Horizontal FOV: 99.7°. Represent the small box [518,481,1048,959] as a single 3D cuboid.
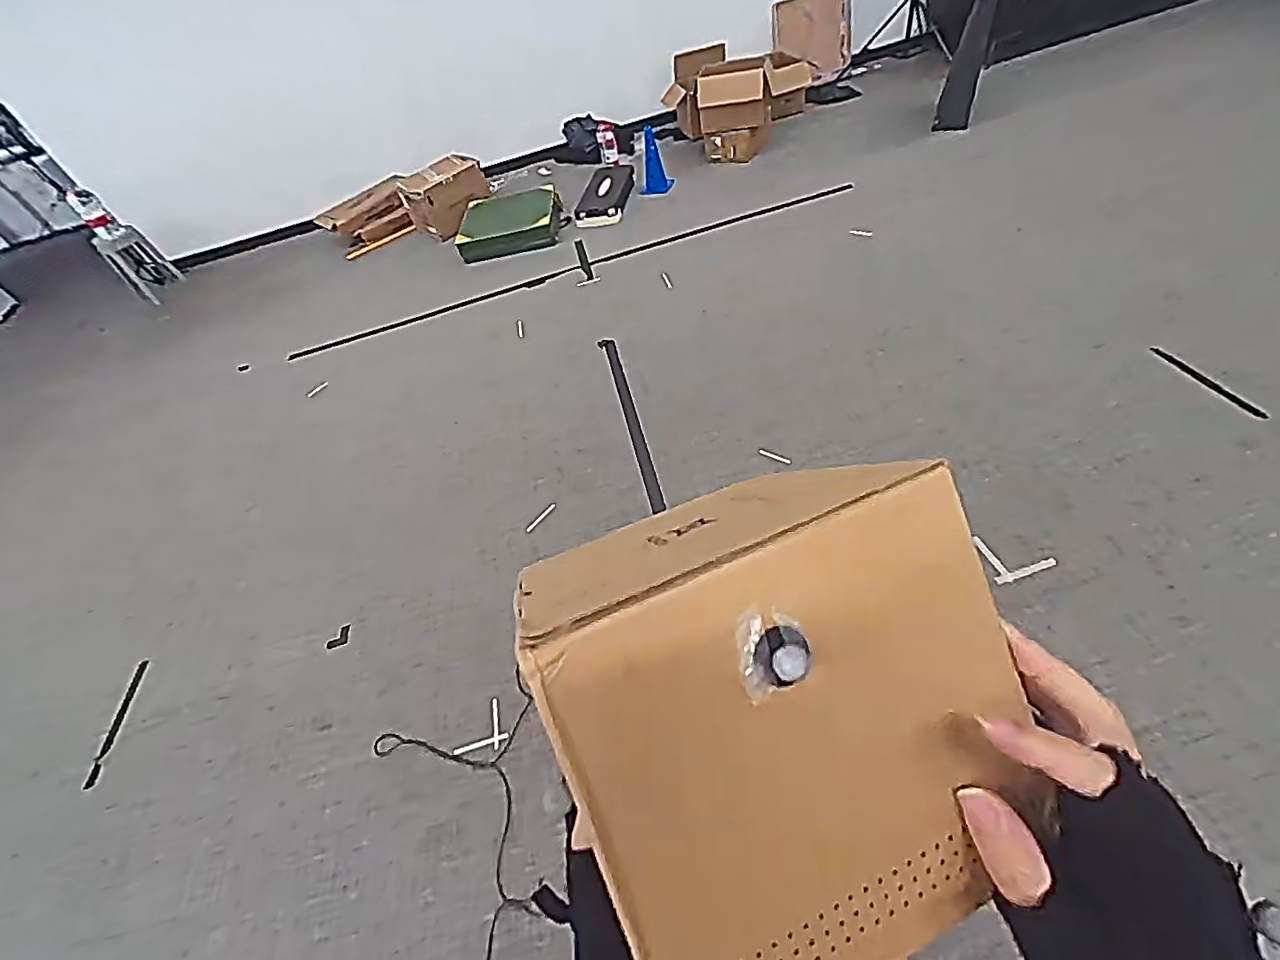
[{"bbox_3d":[0.052,0.110,0.272,0.179,0.168,0.176,-21,93,-12],"label":"small box"}]
